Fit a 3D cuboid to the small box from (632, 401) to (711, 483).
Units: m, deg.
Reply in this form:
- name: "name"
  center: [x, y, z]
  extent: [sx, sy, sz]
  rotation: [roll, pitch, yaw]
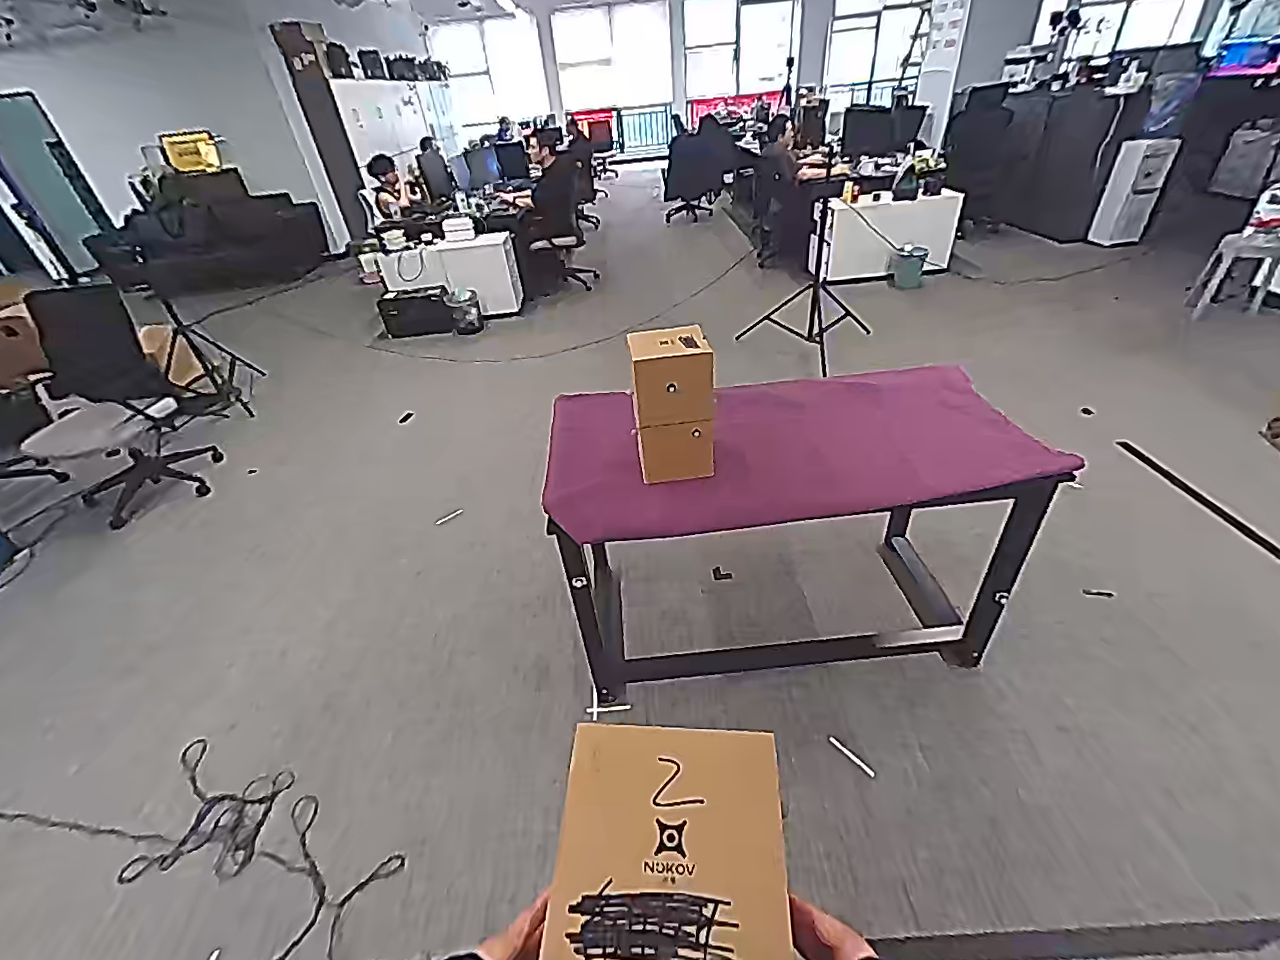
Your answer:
- name: "small box"
  center: [0.080, -0.106, 1.363]
  extent: [0.179, 0.176, 0.168]
  rotation: [-7, 36, -2]

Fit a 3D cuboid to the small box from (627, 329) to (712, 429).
- name: "small box"
  center: [0.068, -0.236, 1.263]
  extent: [0.179, 0.176, 0.168]
  rotation: [-8, 35, -2]
